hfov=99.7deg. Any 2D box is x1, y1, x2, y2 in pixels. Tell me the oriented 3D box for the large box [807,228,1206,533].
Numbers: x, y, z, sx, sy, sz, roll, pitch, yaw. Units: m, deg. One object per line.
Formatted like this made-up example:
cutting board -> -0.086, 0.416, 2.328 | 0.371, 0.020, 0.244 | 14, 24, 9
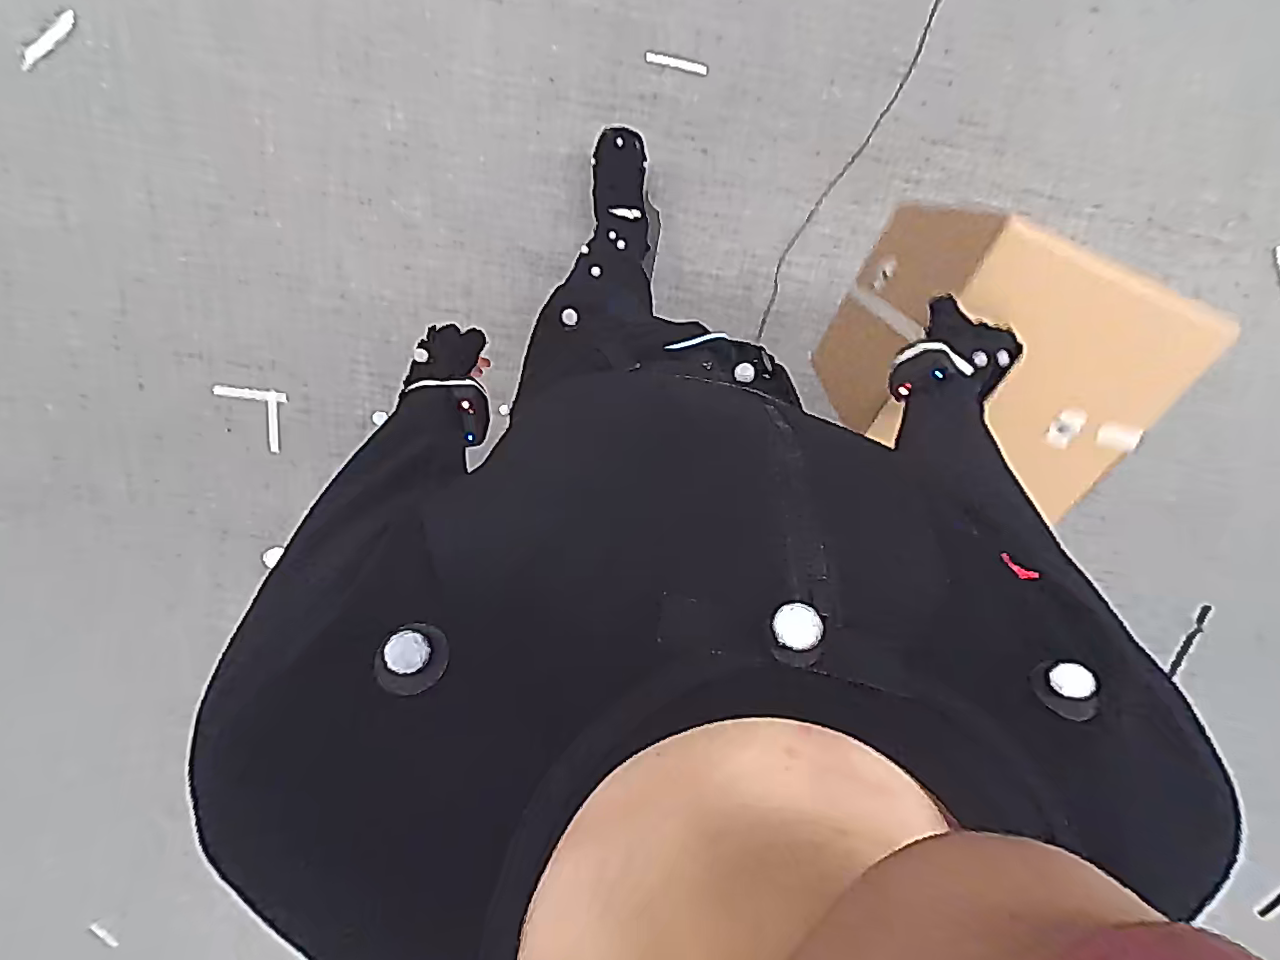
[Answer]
large box -> 0.512, -0.184, 0.872 | 0.320, 0.408, 0.320 | 27, 117, -5
